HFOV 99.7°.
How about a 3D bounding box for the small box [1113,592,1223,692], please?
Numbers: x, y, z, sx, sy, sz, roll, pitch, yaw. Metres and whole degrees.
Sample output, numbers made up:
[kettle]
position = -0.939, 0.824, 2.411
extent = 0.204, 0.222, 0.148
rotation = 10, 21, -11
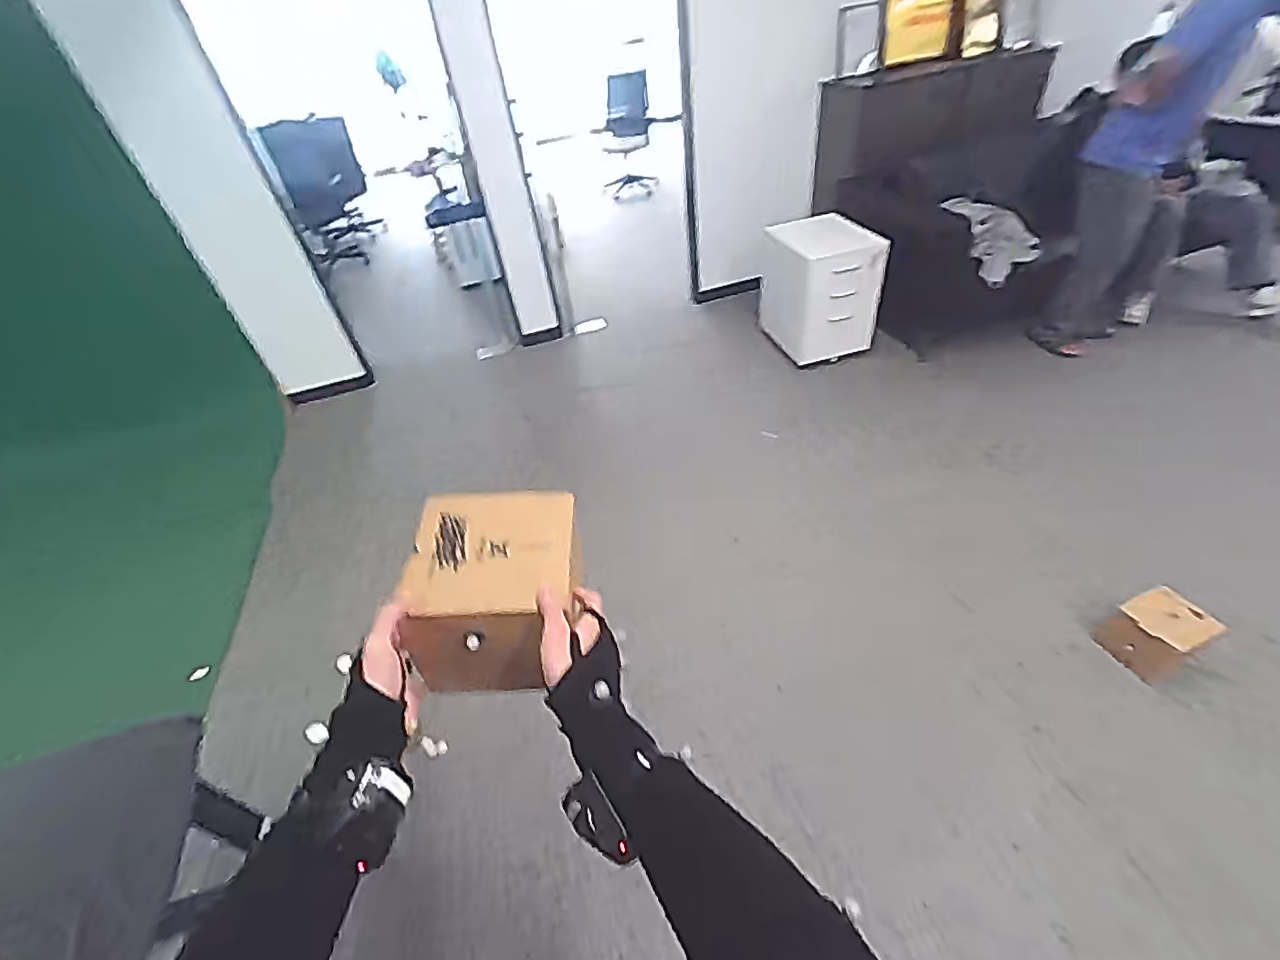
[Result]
[small box]
position = 1.459, 0.451, 1.502
extent = 0.179, 0.176, 0.168
rotation = 23, 47, 33
